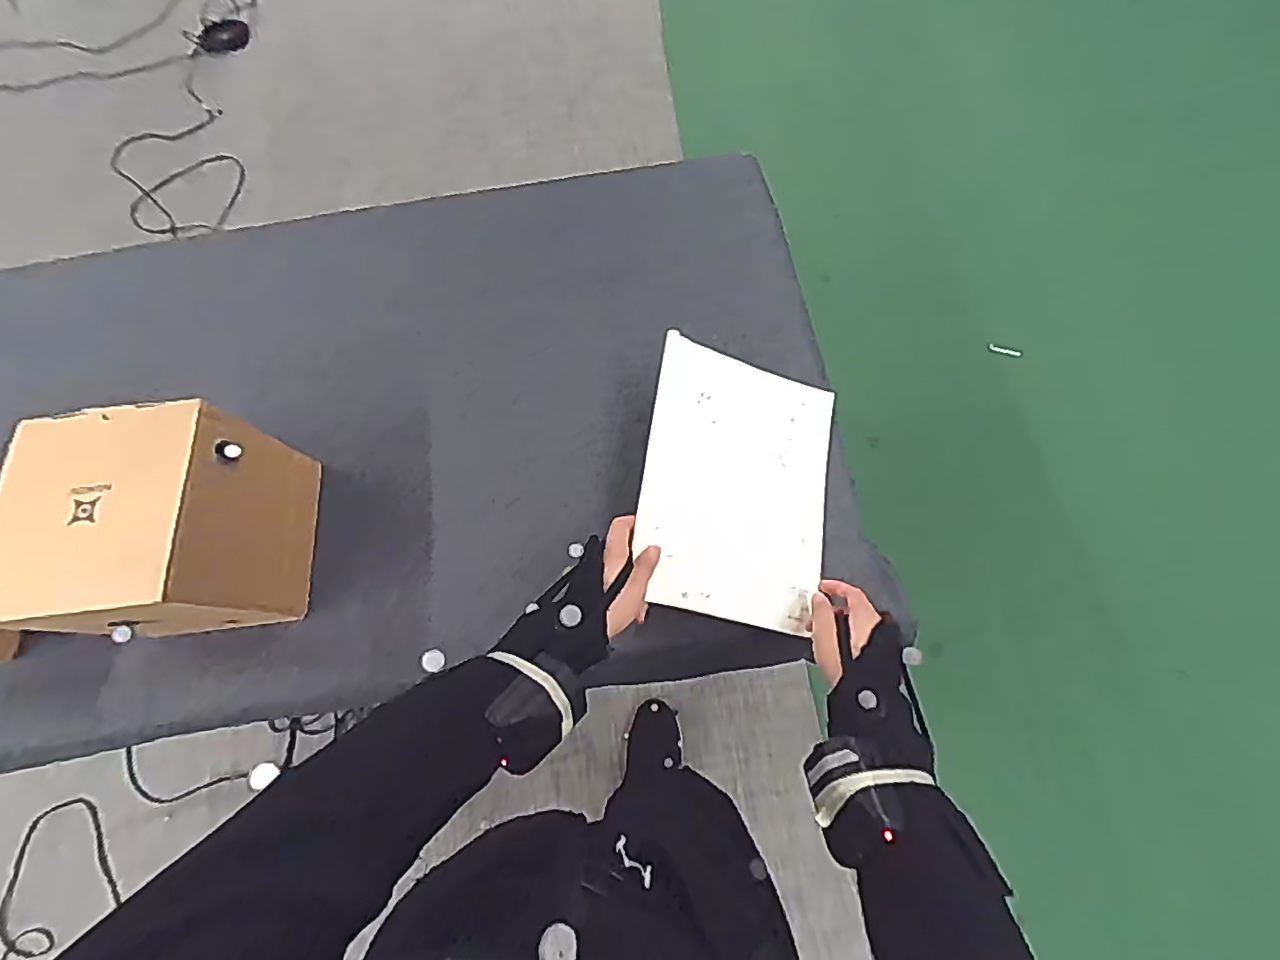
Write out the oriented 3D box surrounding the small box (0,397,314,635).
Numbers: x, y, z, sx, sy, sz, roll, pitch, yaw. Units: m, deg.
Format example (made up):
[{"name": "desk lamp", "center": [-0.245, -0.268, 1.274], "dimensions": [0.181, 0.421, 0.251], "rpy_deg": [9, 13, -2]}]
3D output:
[{"name": "small box", "center": [-0.437, 0.047, 0.502], "dimensions": [0.168, 0.176, 0.179], "rpy_deg": [-7, 70, 2]}]
